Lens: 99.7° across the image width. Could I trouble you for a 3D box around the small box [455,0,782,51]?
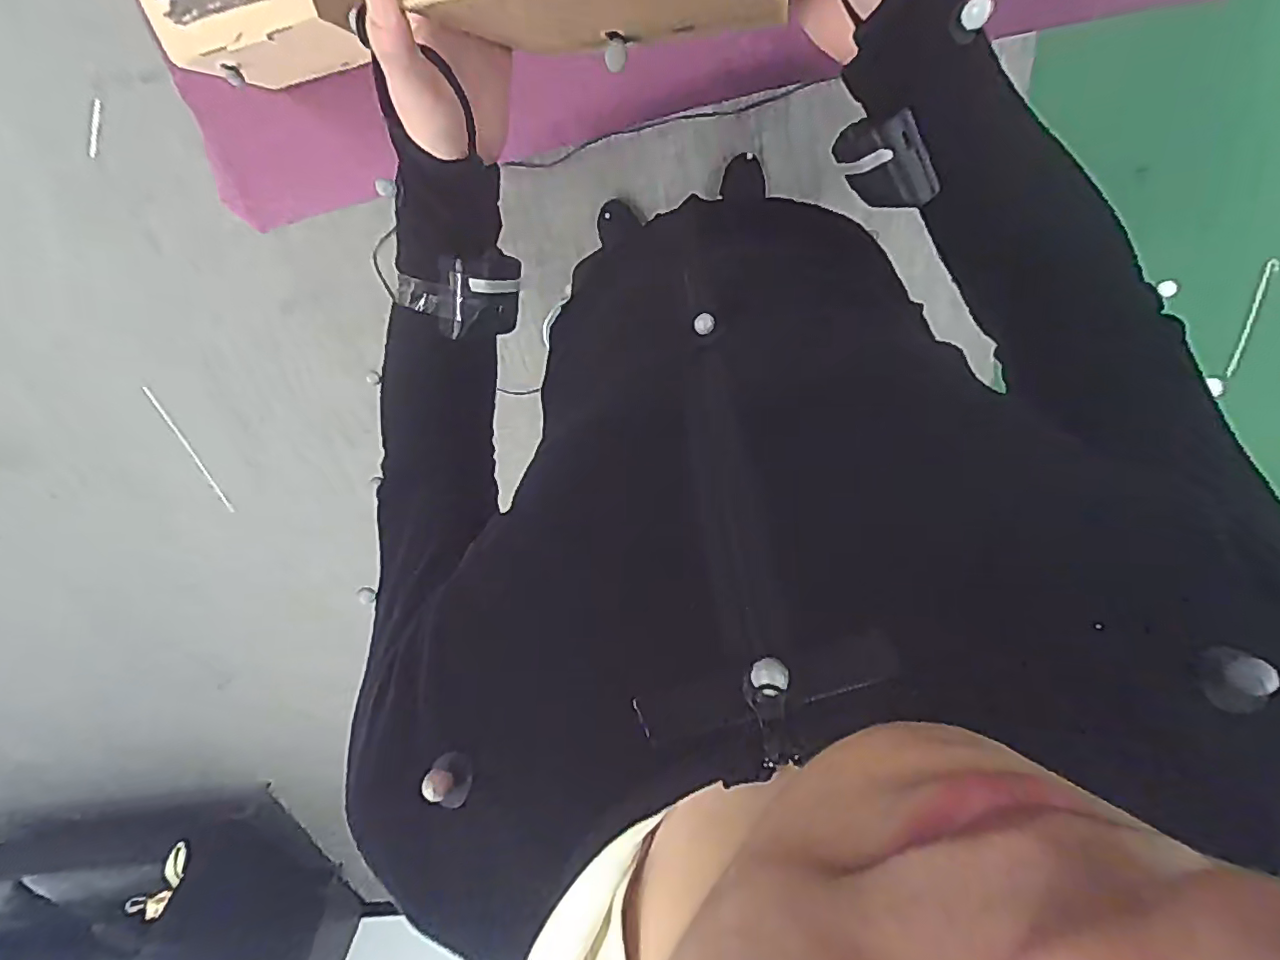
[{"bbox_3d":[-0.016,-0.328,0.249,0.168,0.176,0.179,5,122,16],"label":"small box"}]
